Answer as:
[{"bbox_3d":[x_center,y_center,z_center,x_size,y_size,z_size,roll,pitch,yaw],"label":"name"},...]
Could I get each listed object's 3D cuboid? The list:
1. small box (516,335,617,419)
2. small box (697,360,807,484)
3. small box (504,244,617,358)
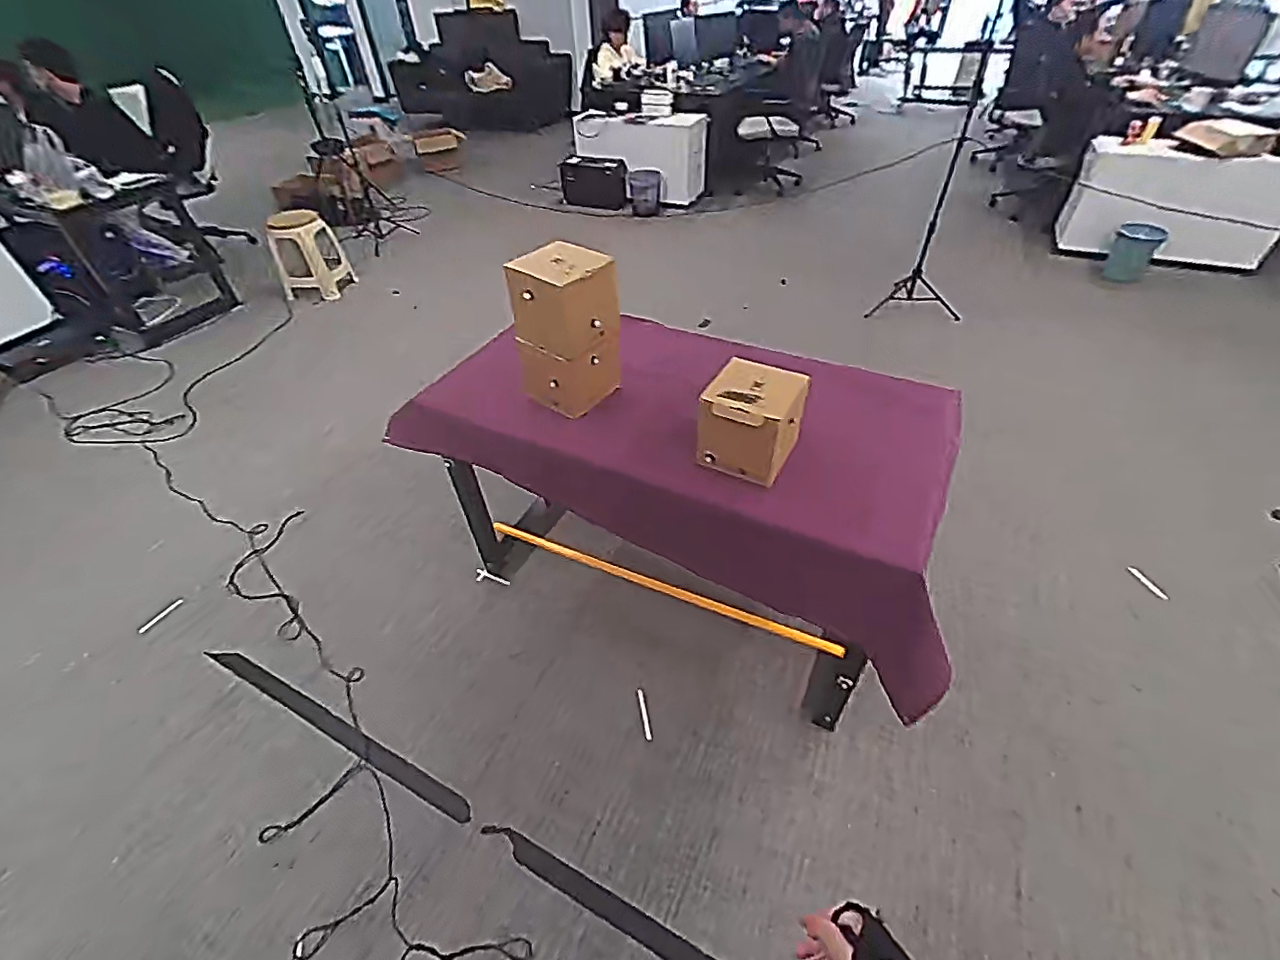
[{"bbox_3d":[-0.168,-0.274,1.302,0.168,0.176,0.179,28,51,27],"label":"small box"},{"bbox_3d":[0.228,-0.118,1.114,0.168,0.176,0.179,20,47,23],"label":"small box"},{"bbox_3d":[-0.167,-0.392,1.187,0.179,0.176,0.168,29,53,28],"label":"small box"}]
